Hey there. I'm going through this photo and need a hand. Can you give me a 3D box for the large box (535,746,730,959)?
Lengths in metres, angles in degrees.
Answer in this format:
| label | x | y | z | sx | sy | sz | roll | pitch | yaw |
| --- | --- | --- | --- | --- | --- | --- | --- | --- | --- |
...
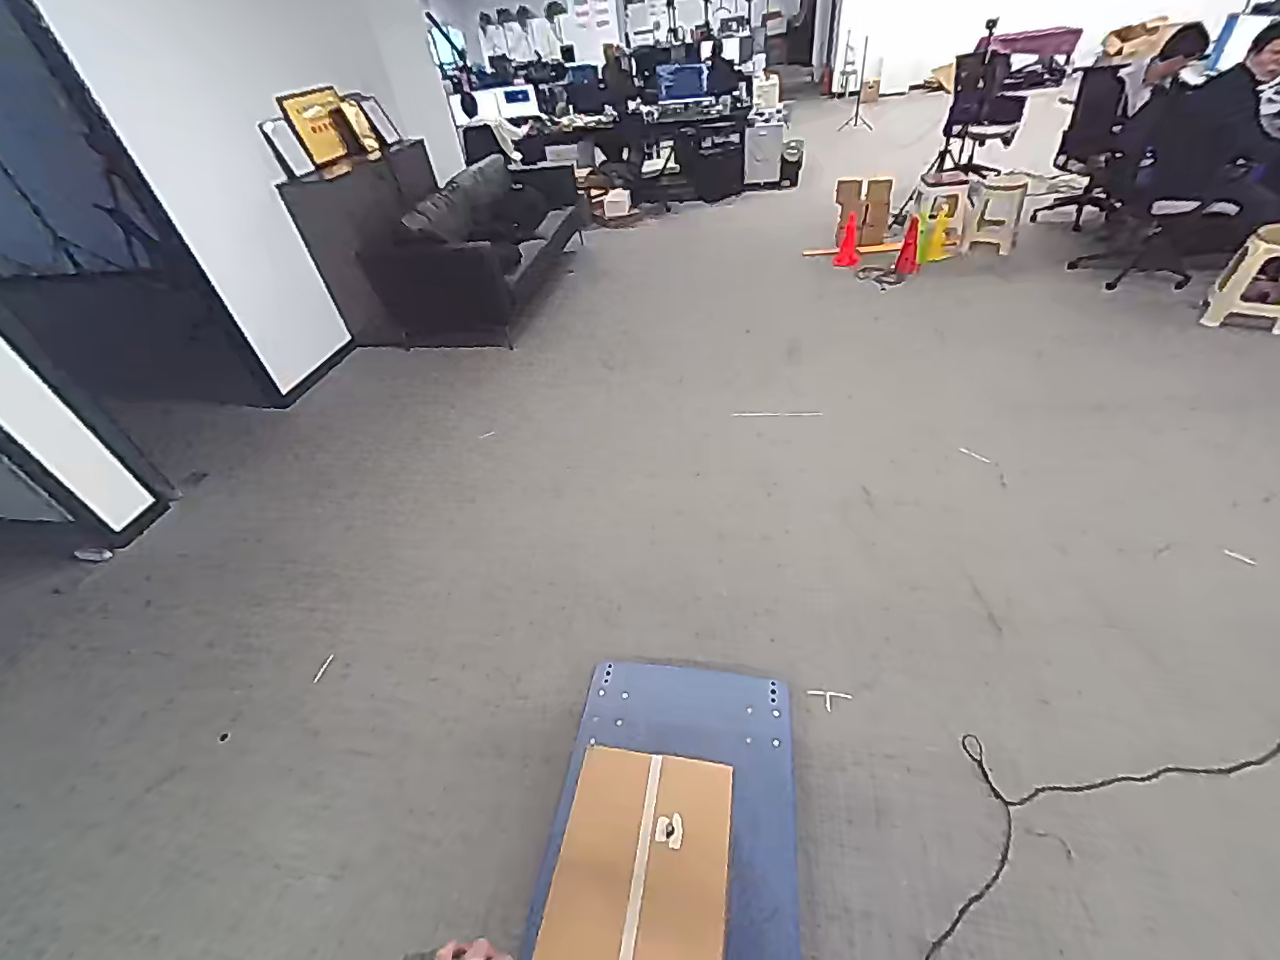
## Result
| label | x | y | z | sx | sy | sz | roll | pitch | yaw |
| --- | --- | --- | --- | --- | --- | --- | --- | --- | --- |
| large box | 0.017 | 0.822 | 1.086 | 0.320 | 0.320 | 0.408 | 3 | 40 | 11 |
